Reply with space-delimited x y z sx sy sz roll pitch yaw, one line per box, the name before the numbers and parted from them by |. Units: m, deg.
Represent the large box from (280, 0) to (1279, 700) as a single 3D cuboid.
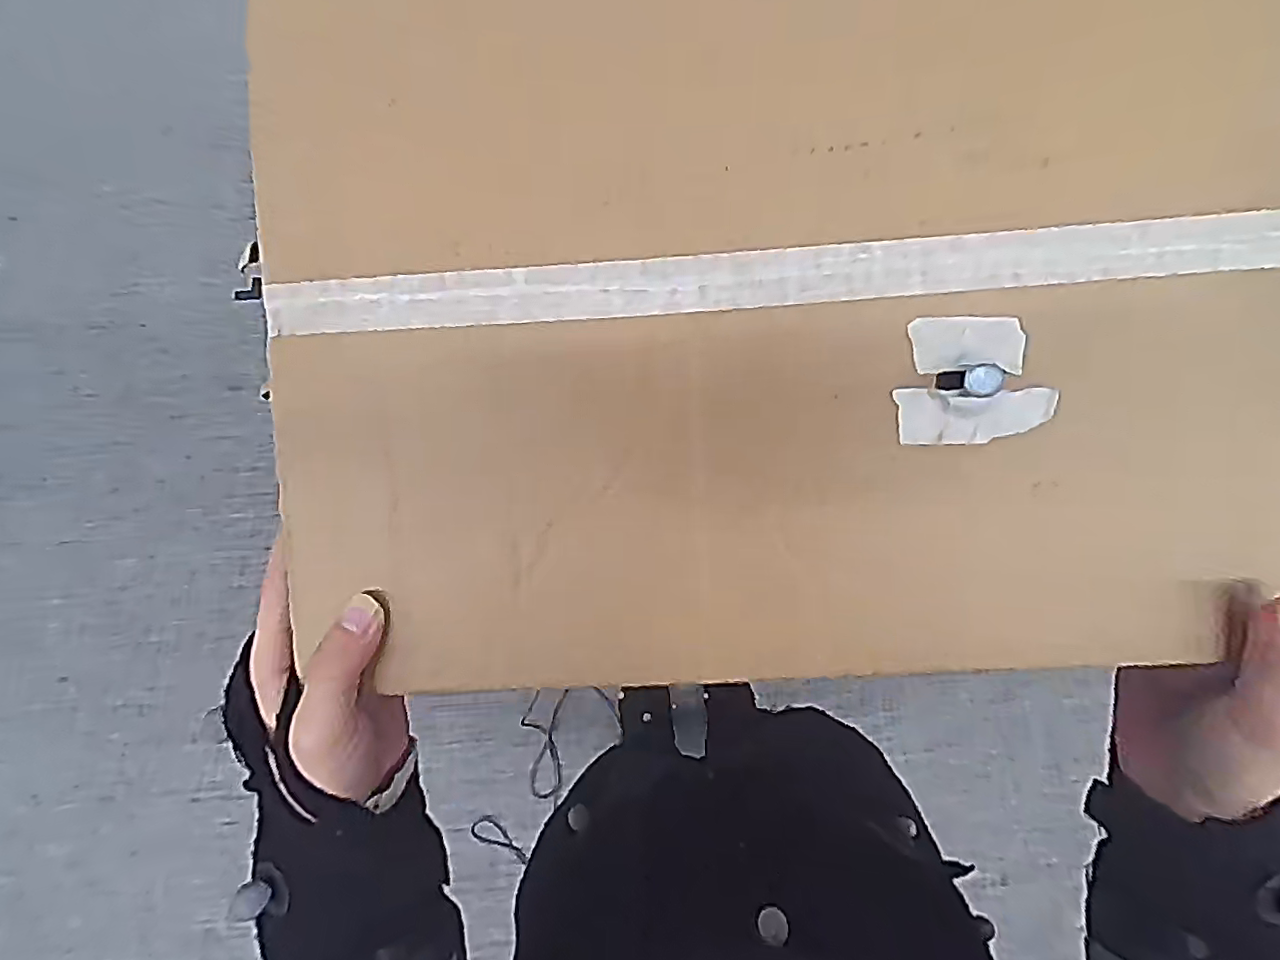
large box | 0.059 -0.075 0.369 0.408 0.320 0.320 -4 91 1
